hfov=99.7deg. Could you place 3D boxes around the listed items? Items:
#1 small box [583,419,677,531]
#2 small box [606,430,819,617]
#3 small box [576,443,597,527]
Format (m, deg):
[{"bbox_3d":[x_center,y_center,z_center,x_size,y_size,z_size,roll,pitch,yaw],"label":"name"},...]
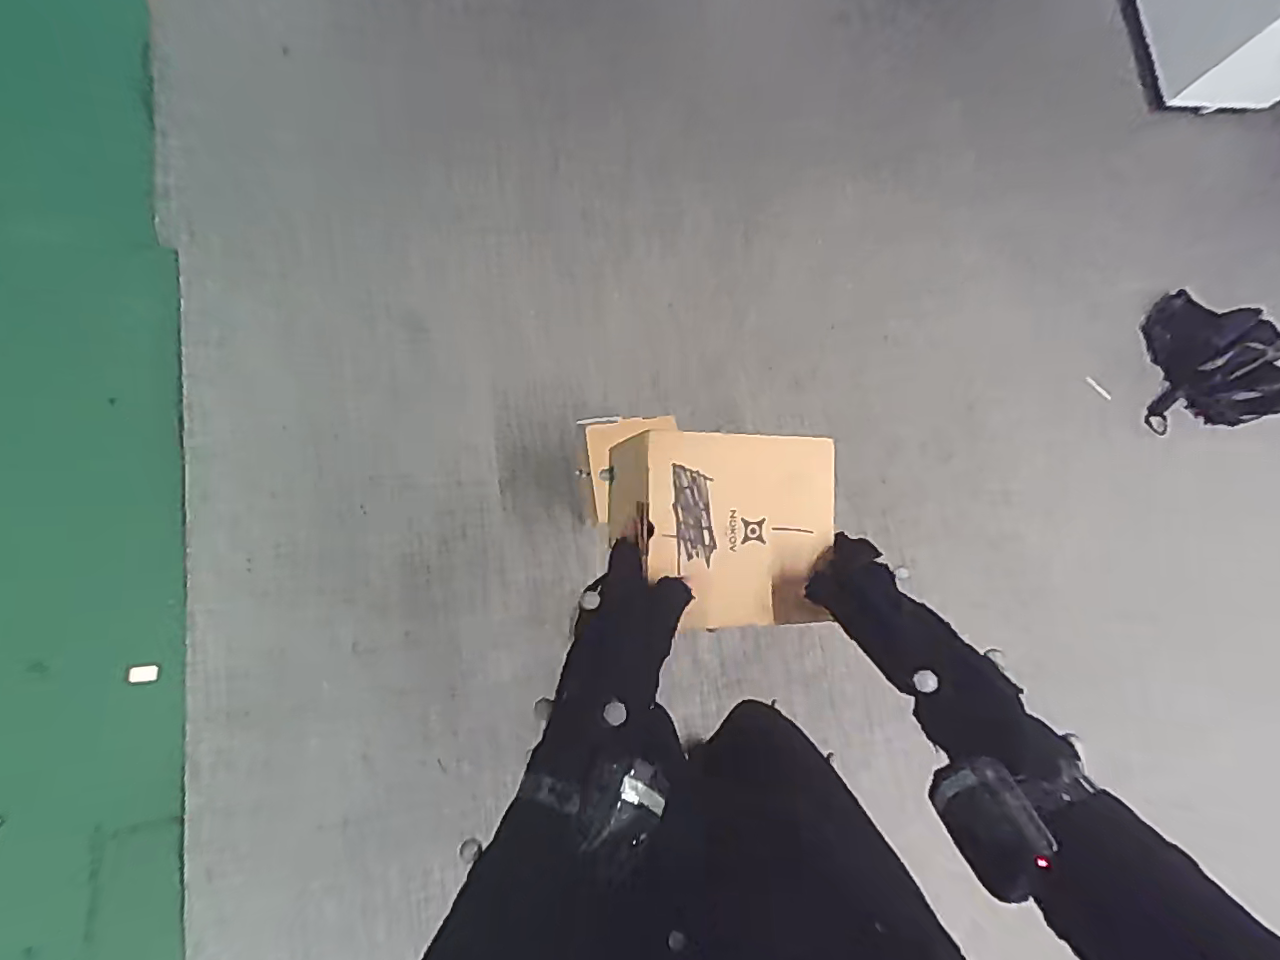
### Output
[{"bbox_3d":[-0.015,-0.003,1.028,0.168,0.176,0.179,-8,83,-8],"label":"small box"},{"bbox_3d":[0.063,0.043,0.563,0.179,0.176,0.168,2,88,-14],"label":"small box"},{"bbox_3d":[-0.042,0.008,1.190,0.179,0.176,0.168,-7,81,-10],"label":"small box"}]
